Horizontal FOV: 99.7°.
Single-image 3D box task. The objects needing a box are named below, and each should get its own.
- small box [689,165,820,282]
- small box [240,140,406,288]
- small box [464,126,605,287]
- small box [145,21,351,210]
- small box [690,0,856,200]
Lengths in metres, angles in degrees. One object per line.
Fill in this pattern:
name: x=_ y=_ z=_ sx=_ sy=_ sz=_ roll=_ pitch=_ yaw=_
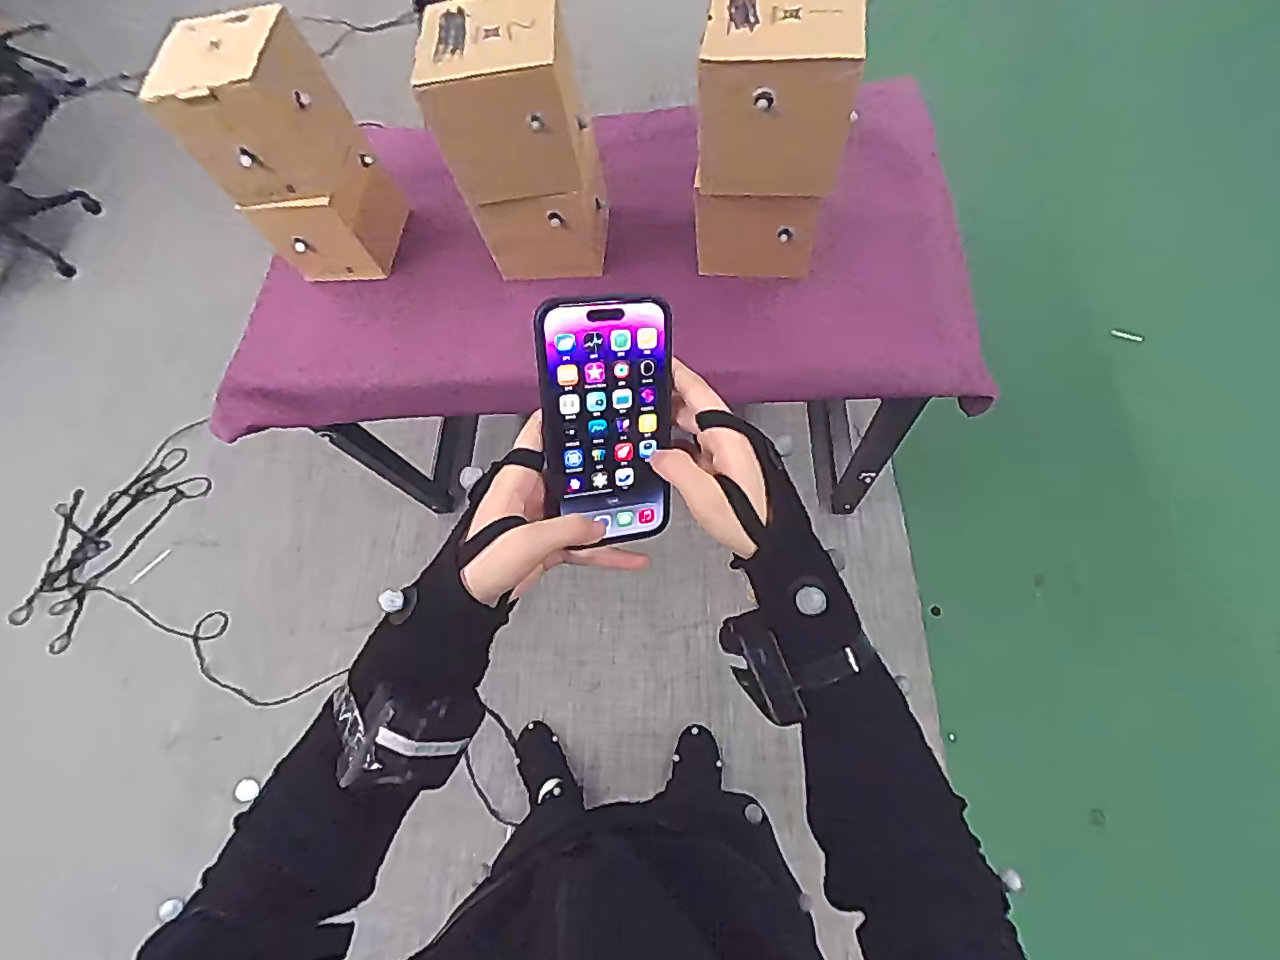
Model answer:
small box: x=0.178 y=-0.427 z=0.833 sx=0.179 sy=0.176 sz=0.168 roll=5 pitch=67 yaw=12
small box: x=-0.543 y=-0.457 z=0.956 sx=0.168 sy=0.176 sz=0.179 roll=1 pitch=66 yaw=9
small box: x=-0.159 y=-0.439 z=0.888 sx=0.179 sy=0.176 sz=0.168 roll=0 pitch=66 yaw=9
small box: x=-0.566 y=-0.530 z=0.810 sx=0.168 sy=0.176 sz=0.179 roll=-4 pitch=67 yaw=6
small box: x=0.162 y=-0.478 z=0.678 sx=0.179 sy=0.176 sz=0.168 roll=6 pitch=67 yaw=10
